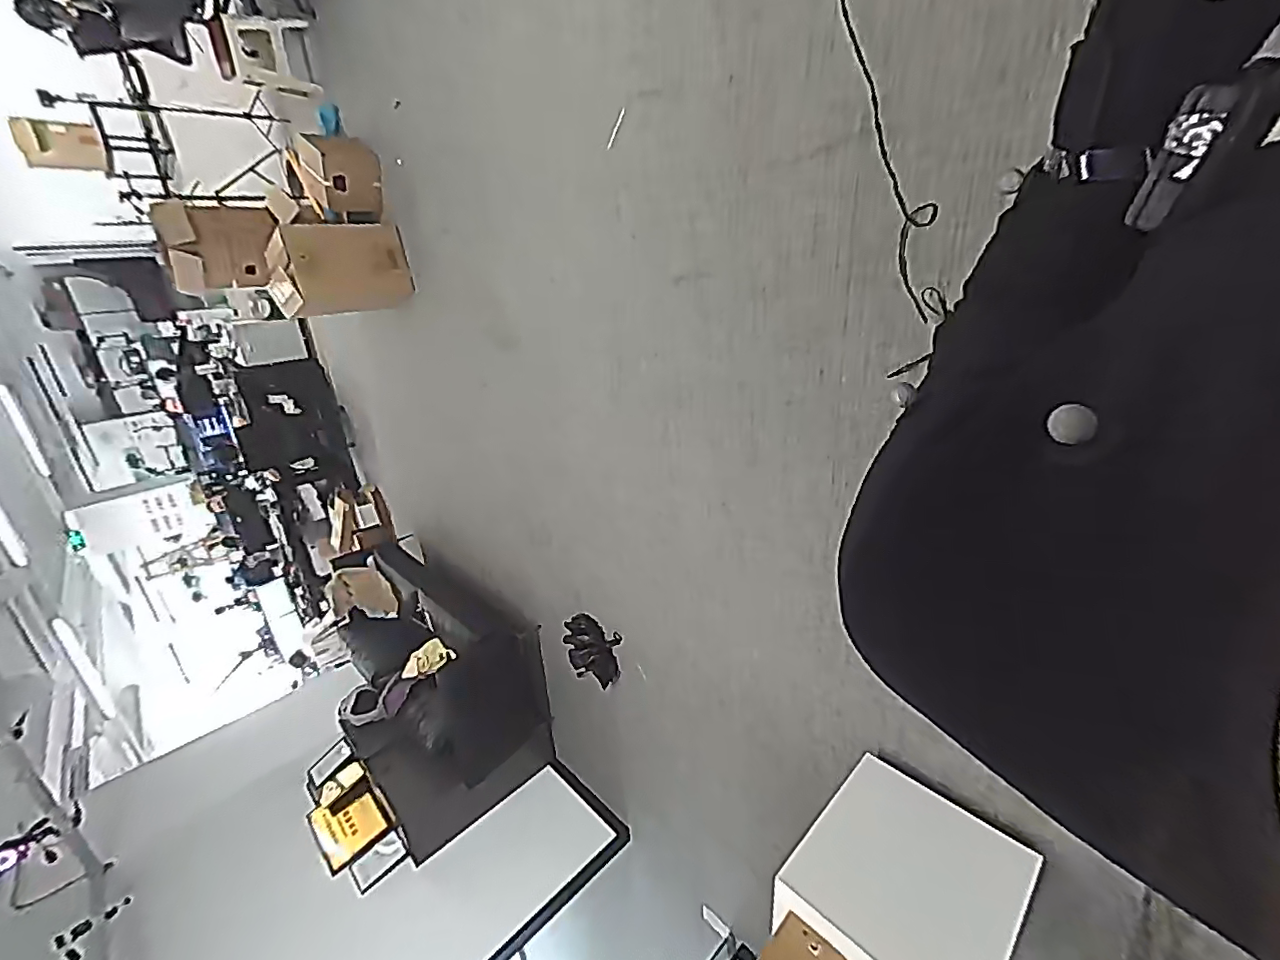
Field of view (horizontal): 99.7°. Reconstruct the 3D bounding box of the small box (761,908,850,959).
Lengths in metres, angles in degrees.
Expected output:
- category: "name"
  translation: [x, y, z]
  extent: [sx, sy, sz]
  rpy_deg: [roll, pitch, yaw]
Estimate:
- category: "small box"
  translation: [0.432, 1.293, 1.412]
  extent: [0.168, 0.176, 0.179]
  rpy_deg: [16, 119, 44]
